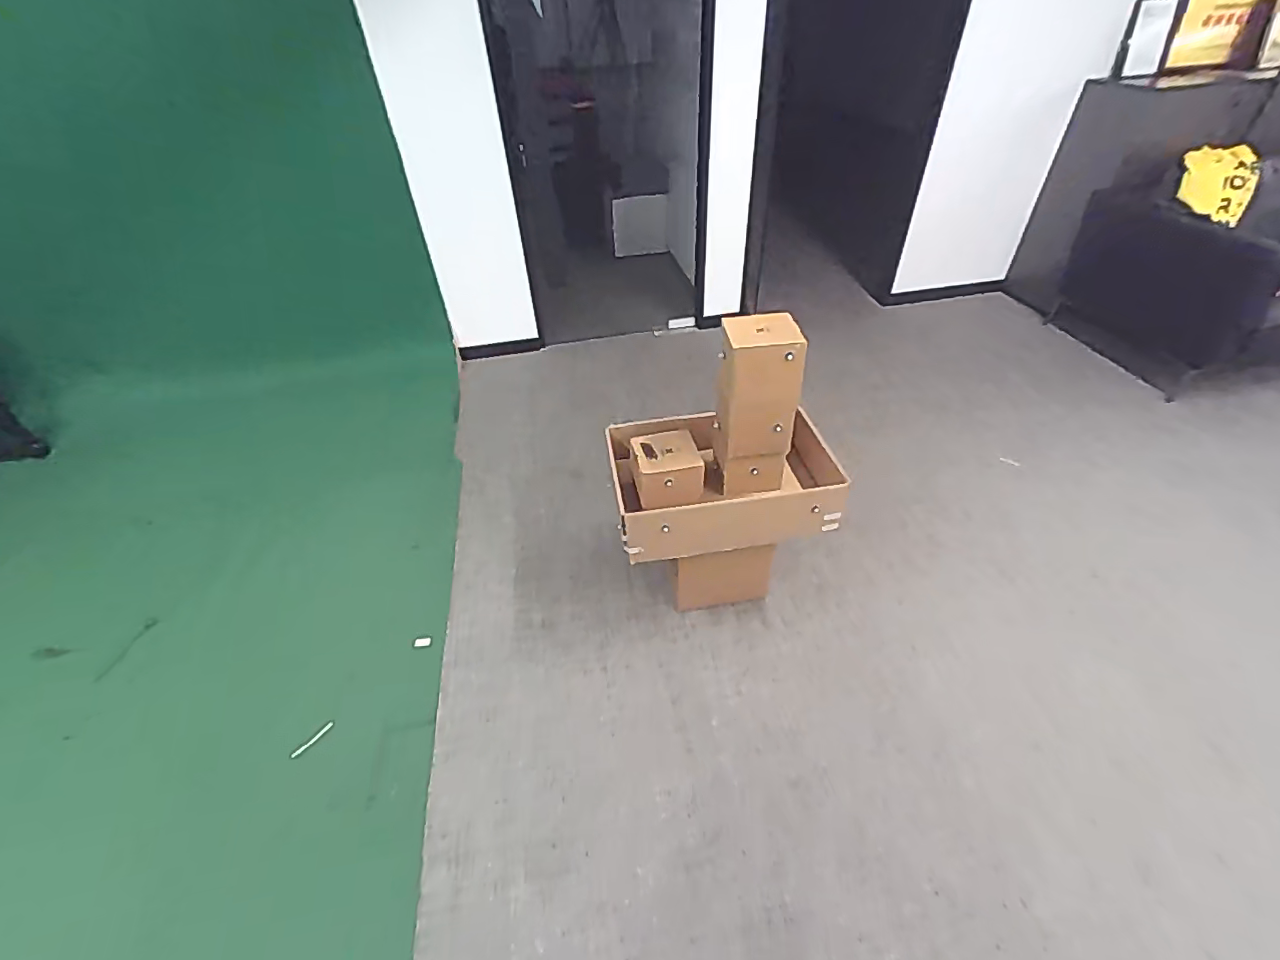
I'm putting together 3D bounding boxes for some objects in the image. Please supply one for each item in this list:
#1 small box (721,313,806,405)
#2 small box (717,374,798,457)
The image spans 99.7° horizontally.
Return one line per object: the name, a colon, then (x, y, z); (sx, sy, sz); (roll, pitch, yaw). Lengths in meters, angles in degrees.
small box: (0.302, -0.301, 1.359); (0.179, 0.176, 0.168); (-5, 41, 0)
small box: (0.310, -0.180, 1.467); (0.179, 0.176, 0.168); (-7, 42, -1)
